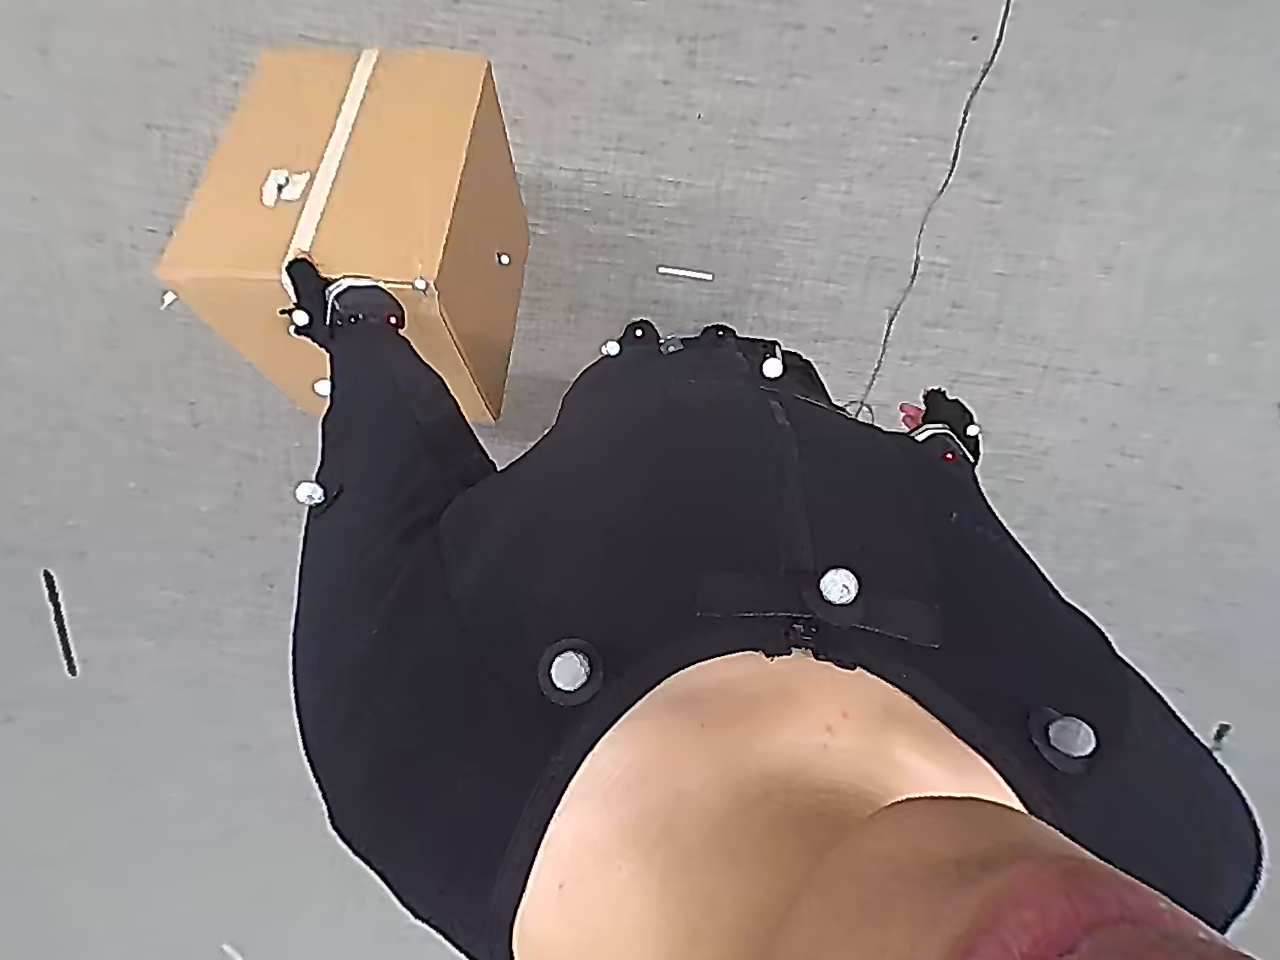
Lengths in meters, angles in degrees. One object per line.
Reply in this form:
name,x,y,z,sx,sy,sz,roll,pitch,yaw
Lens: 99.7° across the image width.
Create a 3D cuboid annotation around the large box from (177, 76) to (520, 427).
large box,-0.378,-0.330,0.829,0.320,0.320,0.408,1,67,1
